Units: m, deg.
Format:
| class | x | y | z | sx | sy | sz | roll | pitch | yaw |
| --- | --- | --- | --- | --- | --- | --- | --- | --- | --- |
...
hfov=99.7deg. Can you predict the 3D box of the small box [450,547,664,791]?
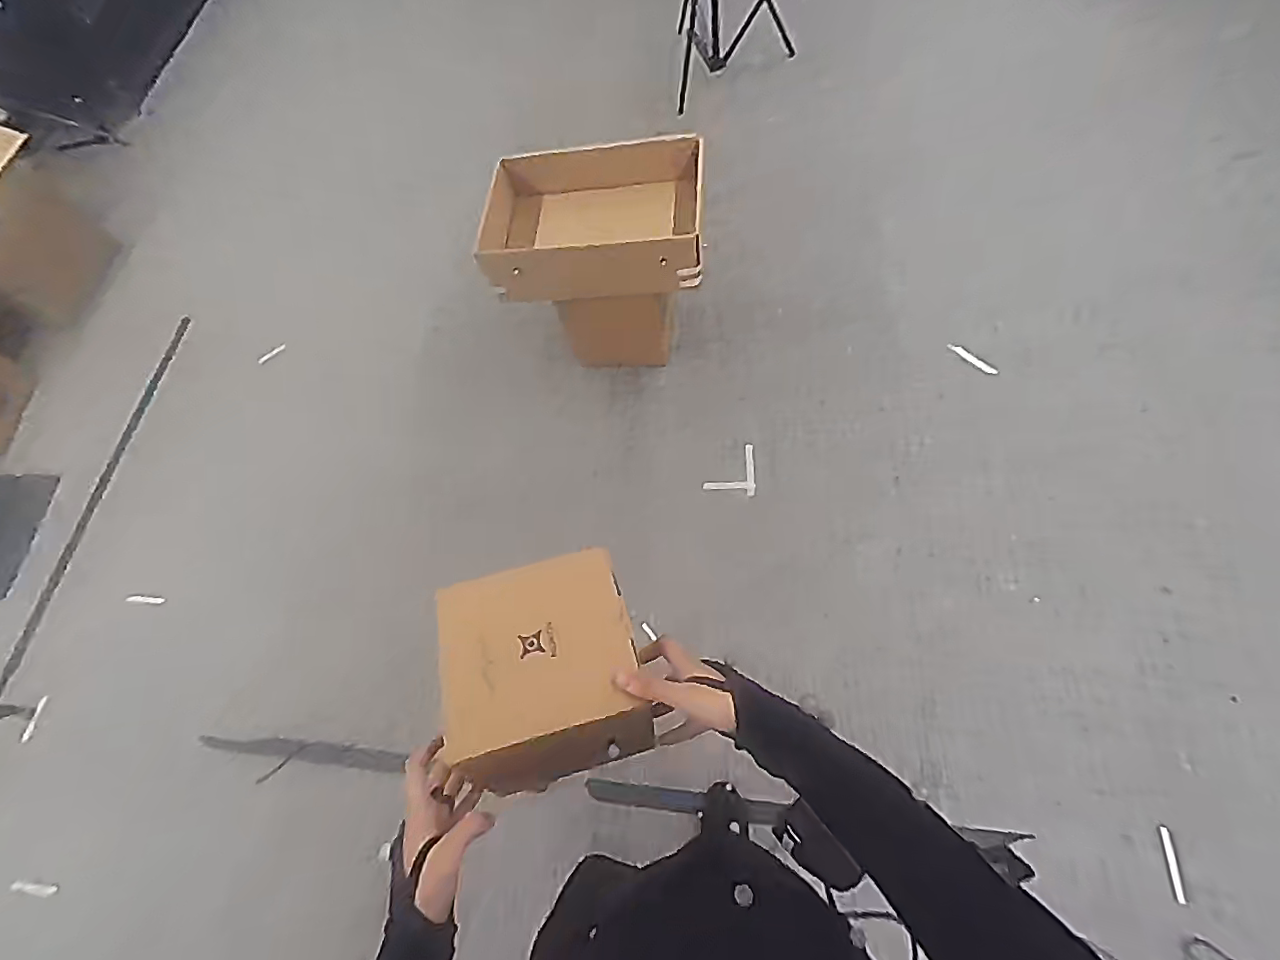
| class | x | y | z | sx | sy | sz | roll | pitch | yaw |
| --- | --- | --- | --- | --- | --- | --- | --- | --- | --- |
| small box | -0.080 | 0.197 | 0.556 | 0.179 | 0.176 | 0.168 | -14 | 52 | -7 |
